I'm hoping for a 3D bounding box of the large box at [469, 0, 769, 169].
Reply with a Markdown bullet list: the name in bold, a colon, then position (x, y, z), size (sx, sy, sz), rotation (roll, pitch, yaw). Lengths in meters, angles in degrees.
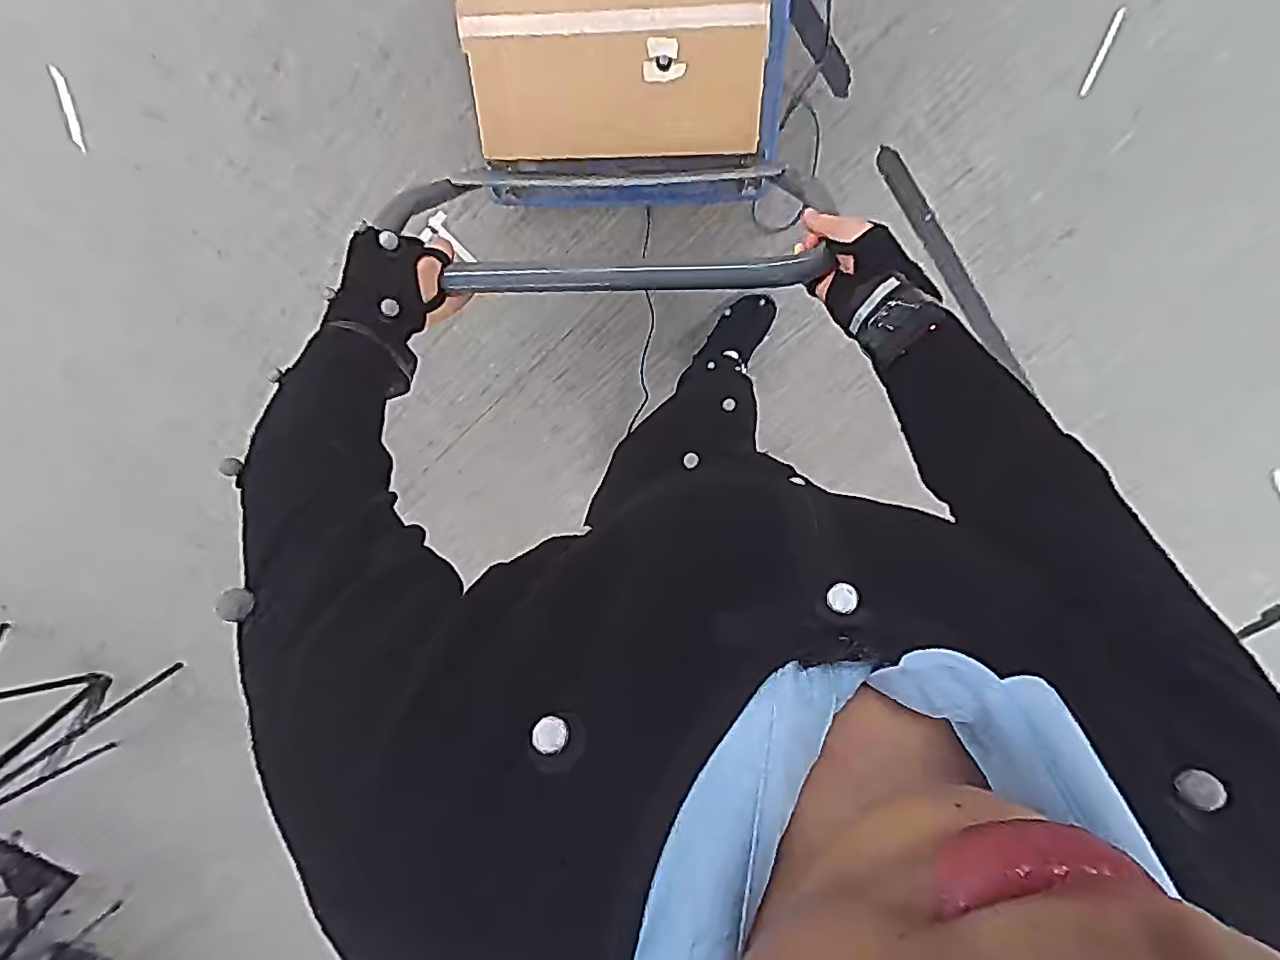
- **large box**: position (-0.025, -0.681, 0.856), size (0.408, 0.320, 0.320), rotation (-1, 120, 2)
